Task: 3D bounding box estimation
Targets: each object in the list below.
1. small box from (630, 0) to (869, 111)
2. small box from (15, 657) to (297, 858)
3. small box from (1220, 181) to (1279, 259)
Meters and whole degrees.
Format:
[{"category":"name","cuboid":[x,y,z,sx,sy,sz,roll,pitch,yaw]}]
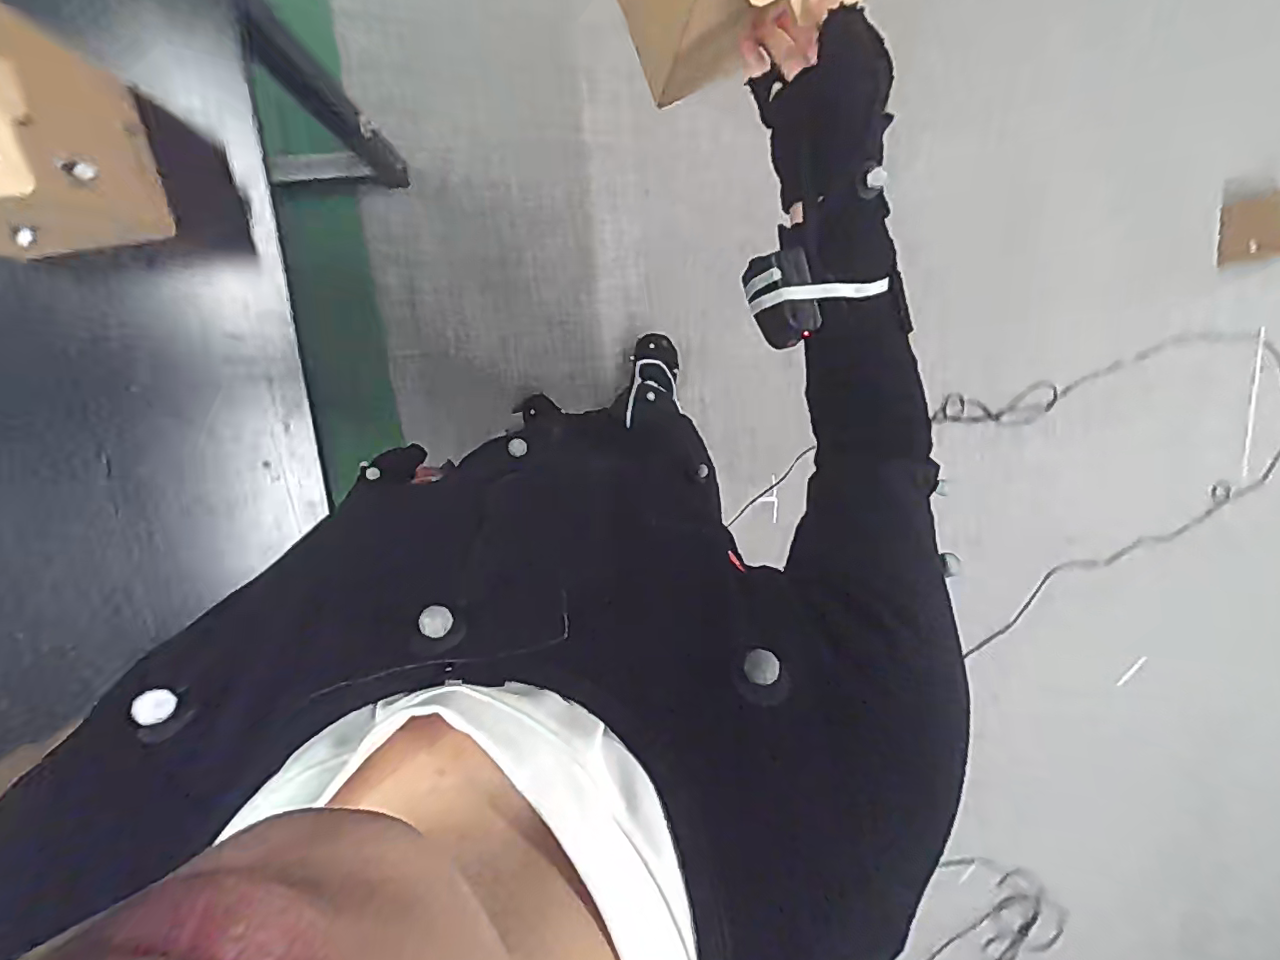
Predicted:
[{"category":"small box","cuboid":[0.076,-0.418,0.391,0.168,0.176,0.179,-23,105,-2]},{"category":"small box","cuboid":[-0.582,0.352,0.680,0.179,0.176,0.168,-14,102,-4]},{"category":"small box","cuboid":[1.733,-0.709,1.460,0.168,0.176,0.179,-11,101,-4]}]
